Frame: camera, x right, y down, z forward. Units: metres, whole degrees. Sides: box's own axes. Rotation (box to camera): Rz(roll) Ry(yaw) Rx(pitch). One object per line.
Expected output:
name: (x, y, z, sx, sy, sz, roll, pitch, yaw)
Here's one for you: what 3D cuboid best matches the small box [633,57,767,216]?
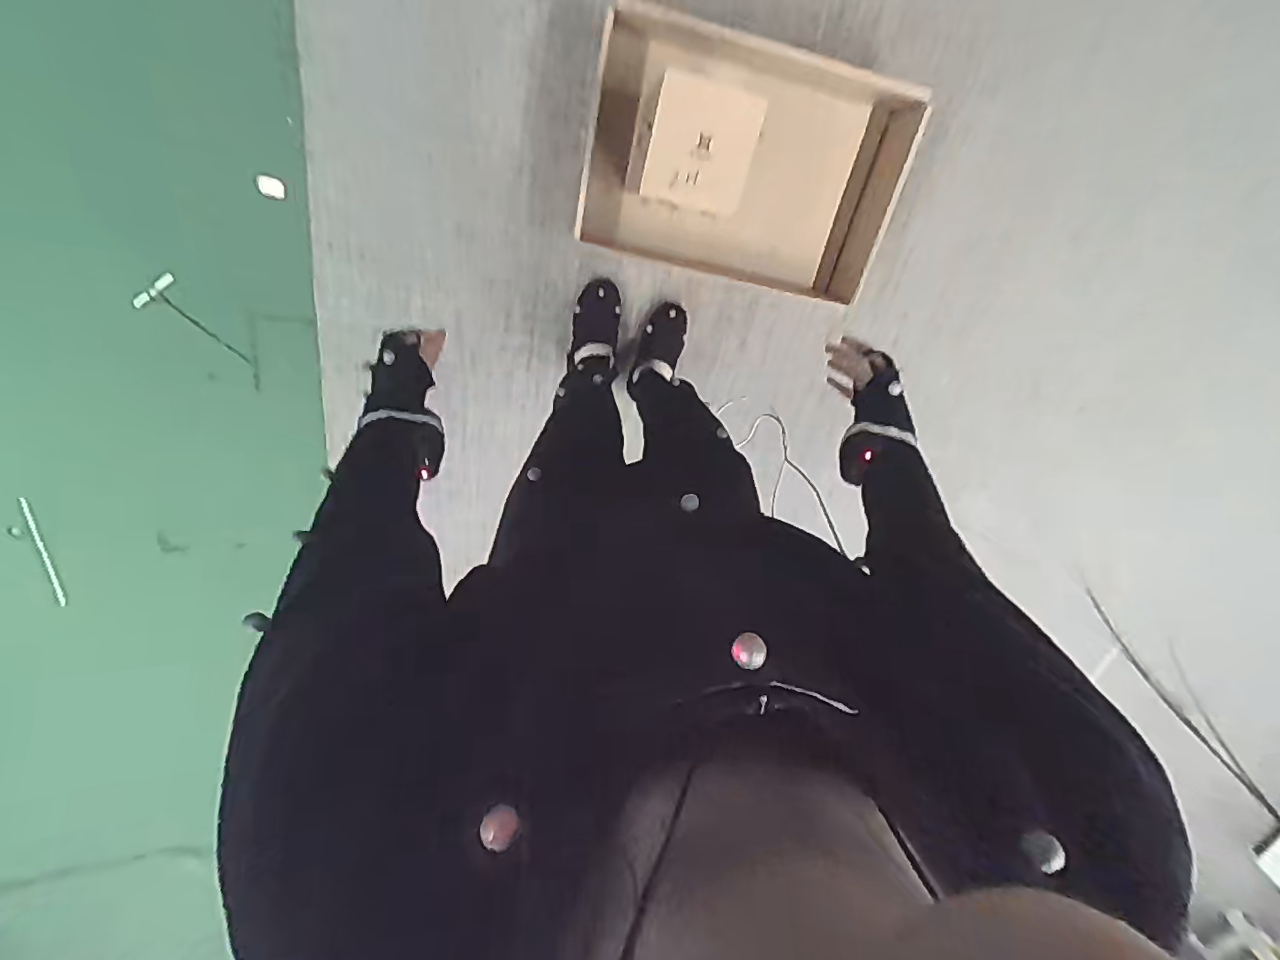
small box: (0.087, -0.565, 0.908, 0.168, 0.176, 0.179, 12, 118, -10)
